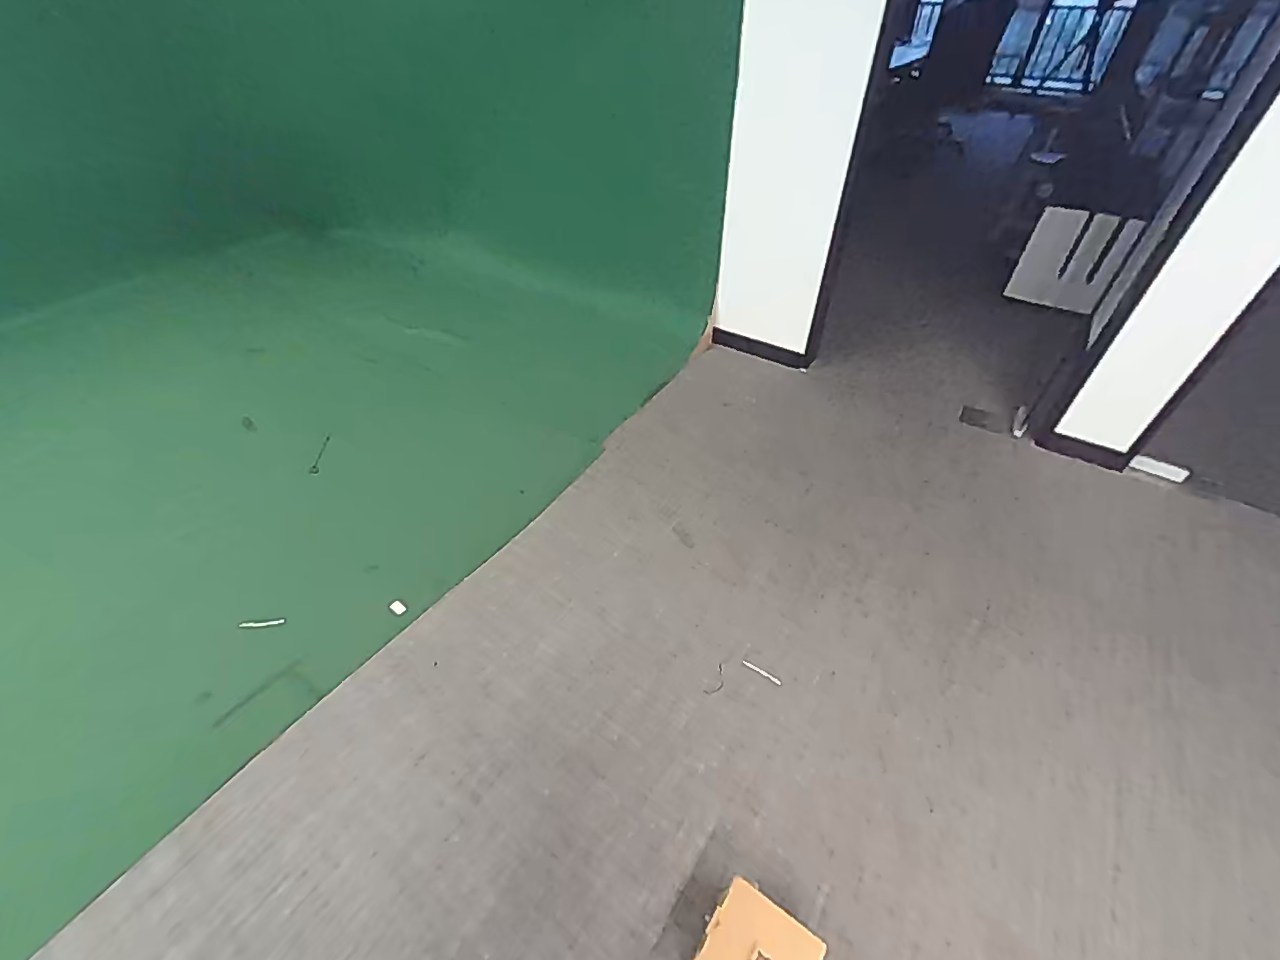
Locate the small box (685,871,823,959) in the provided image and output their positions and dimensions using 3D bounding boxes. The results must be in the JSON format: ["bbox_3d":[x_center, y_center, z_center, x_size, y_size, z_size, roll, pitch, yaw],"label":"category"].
[{"bbox_3d":[0.191,0.838,0.949,0.179,0.176,0.168,26,50,24],"label":"small box"}]
